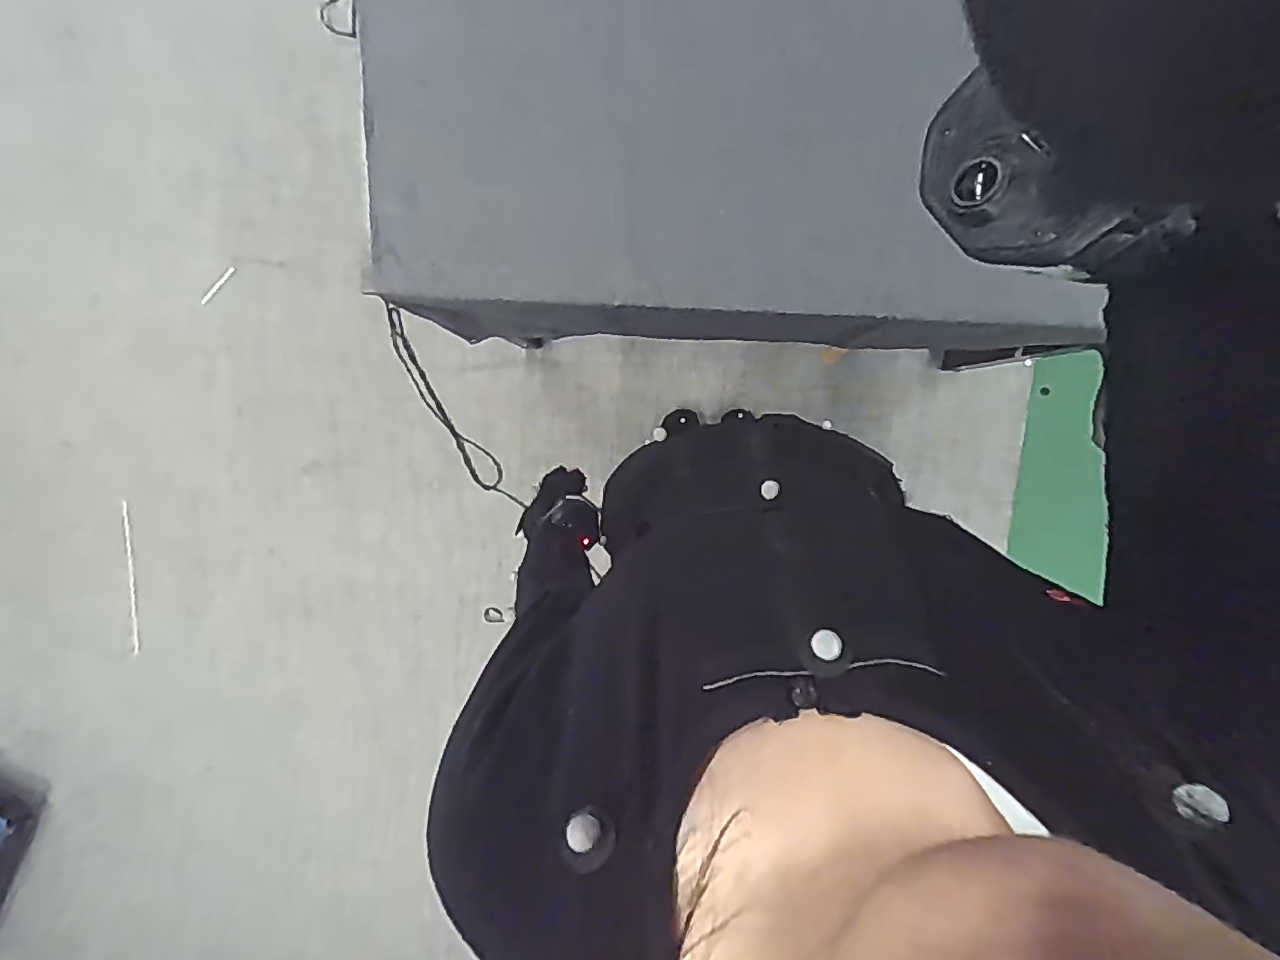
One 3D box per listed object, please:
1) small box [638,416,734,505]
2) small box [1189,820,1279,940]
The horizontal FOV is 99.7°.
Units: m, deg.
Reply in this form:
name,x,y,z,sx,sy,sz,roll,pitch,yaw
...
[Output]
name,x,y,z,sx,sy,sz,roll,pitch,yaw
small box,0.115,-0.056,1.422,0.179,0.176,0.168,44,110,15
small box,1.466,0.936,1.271,0.179,0.176,0.168,4,98,3
